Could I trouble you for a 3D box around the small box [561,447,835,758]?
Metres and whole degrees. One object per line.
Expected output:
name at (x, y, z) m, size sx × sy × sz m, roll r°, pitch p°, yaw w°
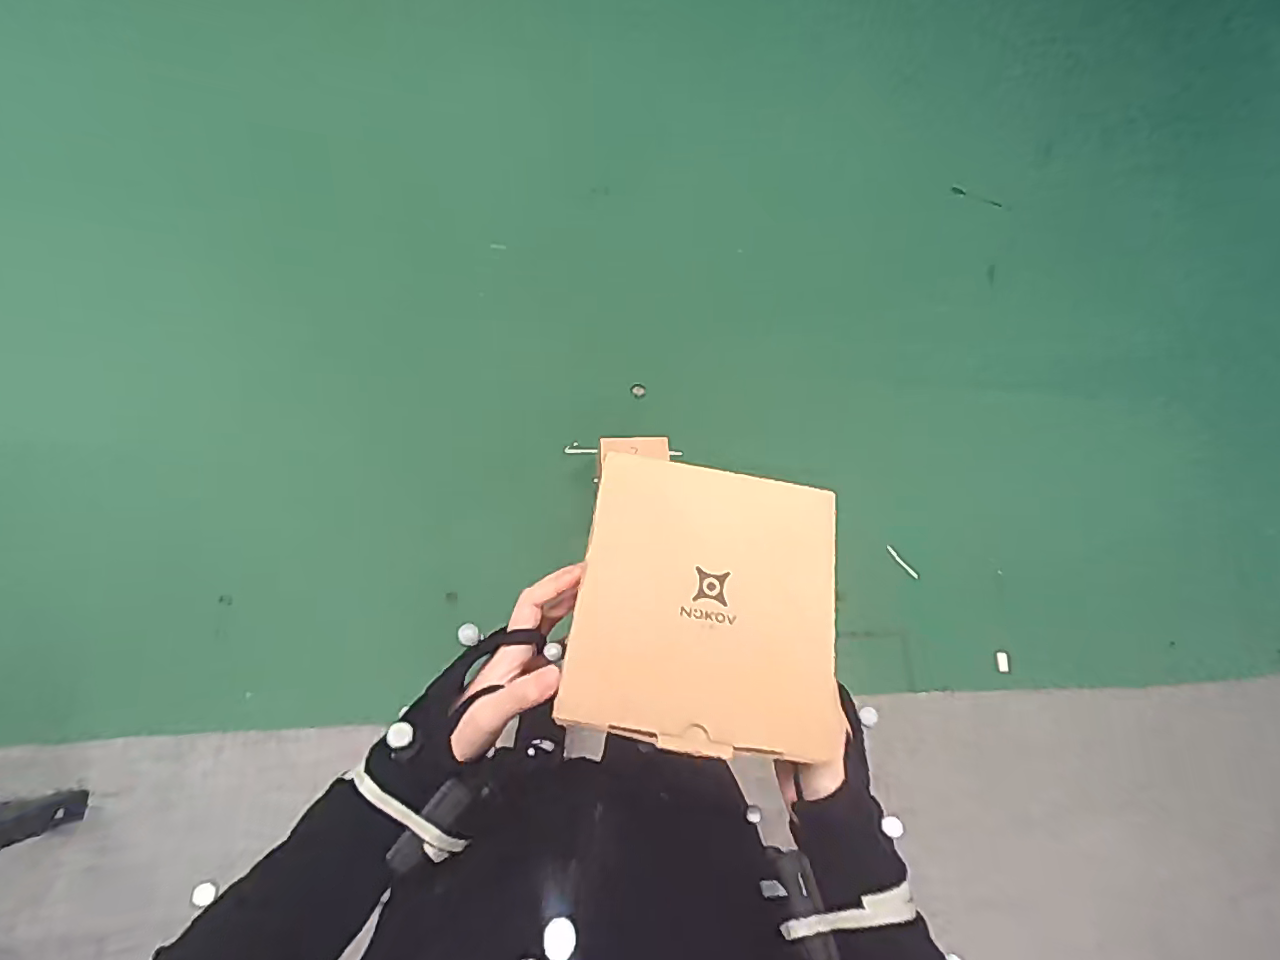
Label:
small box at (0.034, 0.100, 0.418) m, size 0.168 × 0.176 × 0.179 m, roll 11°, pitch 67°, yaw -4°
